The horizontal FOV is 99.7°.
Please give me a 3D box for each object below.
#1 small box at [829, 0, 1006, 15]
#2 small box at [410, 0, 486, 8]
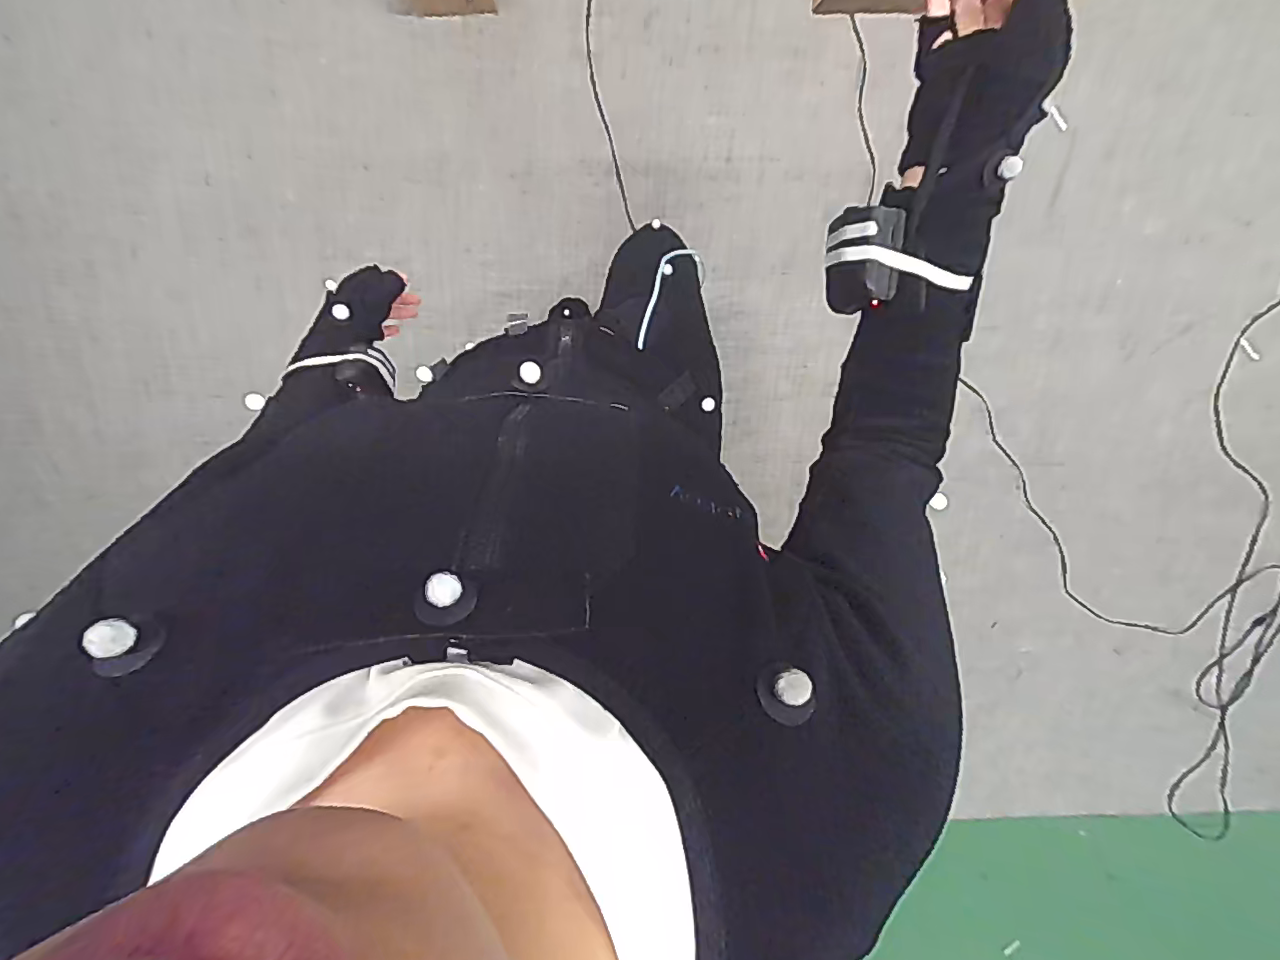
[{"bbox_3d":[0.227,-0.441,0.343,0.168,0.176,0.179,-3,112,-4],"label":"small box"},{"bbox_3d":[-0.393,-1.053,1.043,0.179,0.176,0.168,-4,108,-1],"label":"small box"}]
